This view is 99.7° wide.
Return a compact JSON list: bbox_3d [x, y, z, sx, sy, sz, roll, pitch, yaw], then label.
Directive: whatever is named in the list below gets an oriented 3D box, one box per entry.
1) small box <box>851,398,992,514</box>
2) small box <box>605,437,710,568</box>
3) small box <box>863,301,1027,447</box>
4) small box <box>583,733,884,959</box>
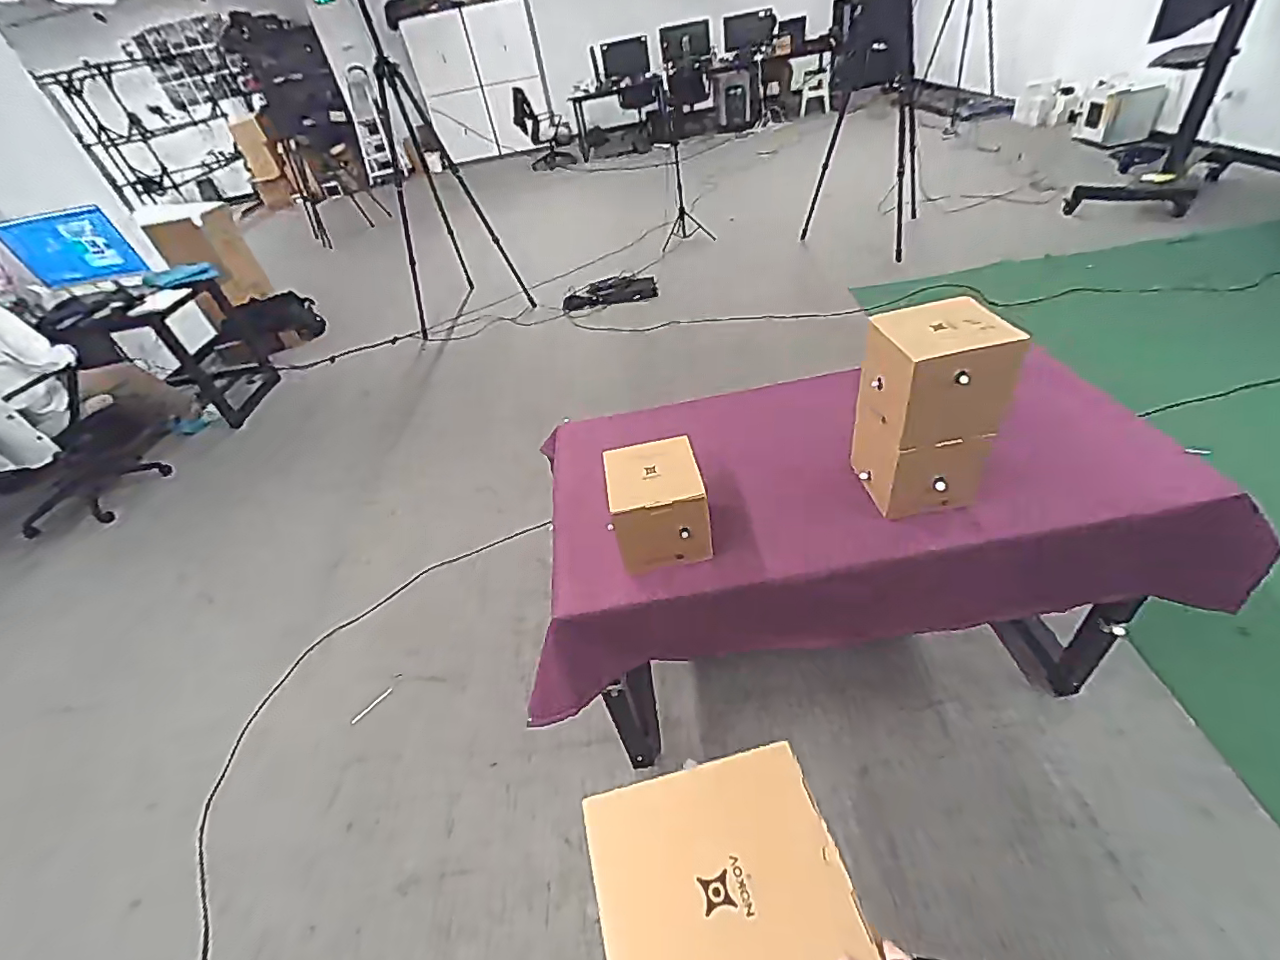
[{"bbox_3d":[0.513,-0.052,1.013,0.168,0.176,0.179,-10,41,2],"label":"small box"},{"bbox_3d":[0.033,0.048,1.014,0.168,0.176,0.179,-10,40,0],"label":"small box"},{"bbox_3d":[0.489,-0.174,0.904,0.179,0.176,0.168,-11,41,1],"label":"small box"},{"bbox_3d":[0.061,0.339,0.438,0.179,0.176,0.168,-11,45,-9],"label":"small box"}]
